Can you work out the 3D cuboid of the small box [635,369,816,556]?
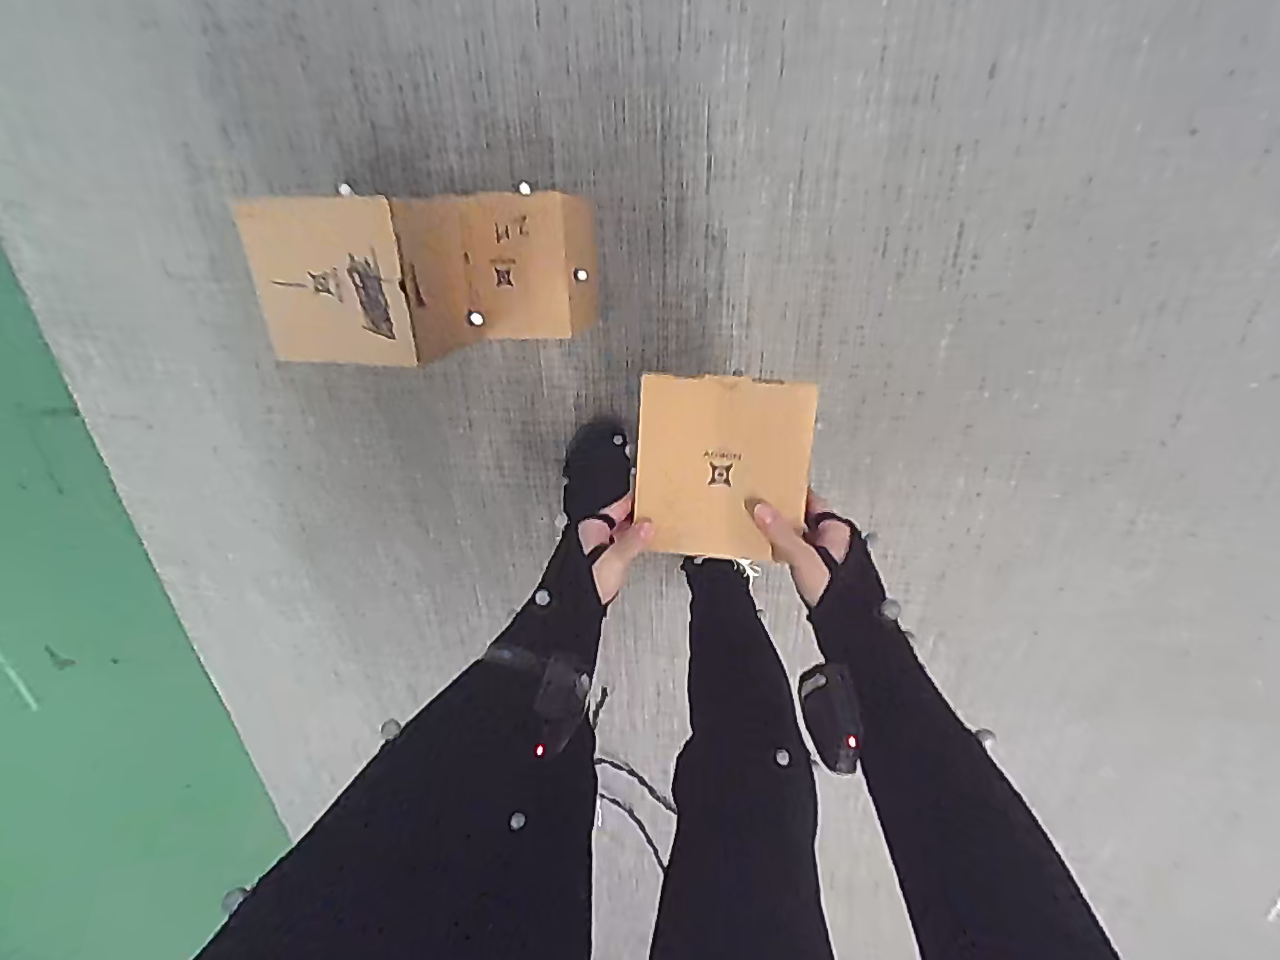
[{"bbox_3d":[0.092,-0.028,0.605,0.168,0.176,0.179,4,98,7],"label":"small box"}]

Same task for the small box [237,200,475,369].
[{"bbox_3d":[-0.307,-0.234,0.634,0.179,0.176,0.168,4,115,7],"label":"small box"}]
